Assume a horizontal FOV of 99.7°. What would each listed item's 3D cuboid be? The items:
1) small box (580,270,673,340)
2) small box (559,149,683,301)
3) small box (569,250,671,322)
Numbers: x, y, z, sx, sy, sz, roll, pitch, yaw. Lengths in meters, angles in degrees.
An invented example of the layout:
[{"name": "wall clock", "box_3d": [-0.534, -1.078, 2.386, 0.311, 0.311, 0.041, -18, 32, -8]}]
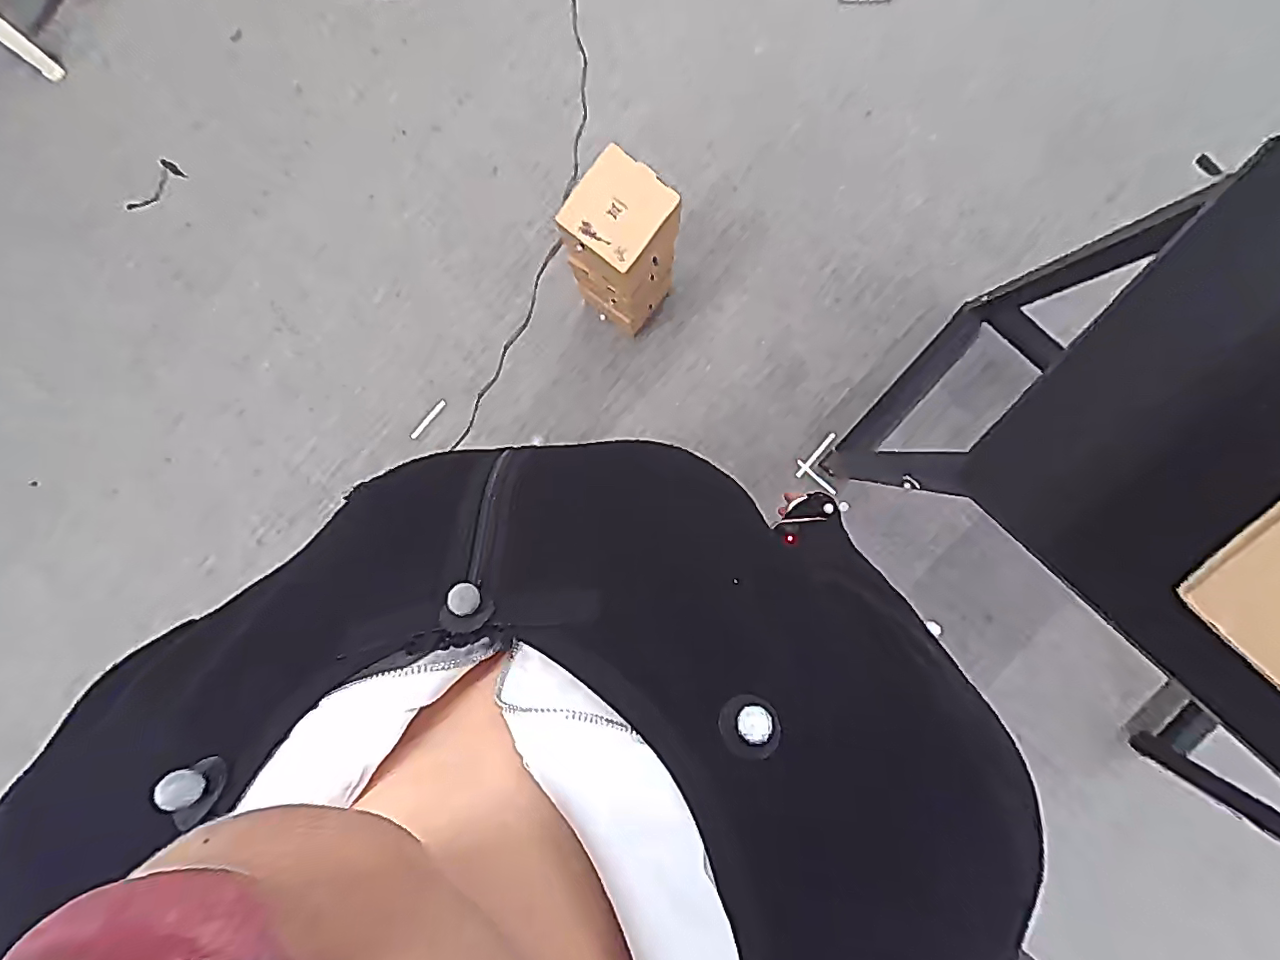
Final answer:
[{"name": "small box", "box_3d": [-0.032, -0.490, 1.395, 0.168, 0.176, 0.179, 38, 94, 1]}, {"name": "small box", "box_3d": [-0.035, -0.491, 1.068, 0.168, 0.176, 0.179, 38, 93, 0]}, {"name": "small box", "box_3d": [-0.036, -0.490, 1.233, 0.168, 0.176, 0.179, 35, 92, 0]}]
